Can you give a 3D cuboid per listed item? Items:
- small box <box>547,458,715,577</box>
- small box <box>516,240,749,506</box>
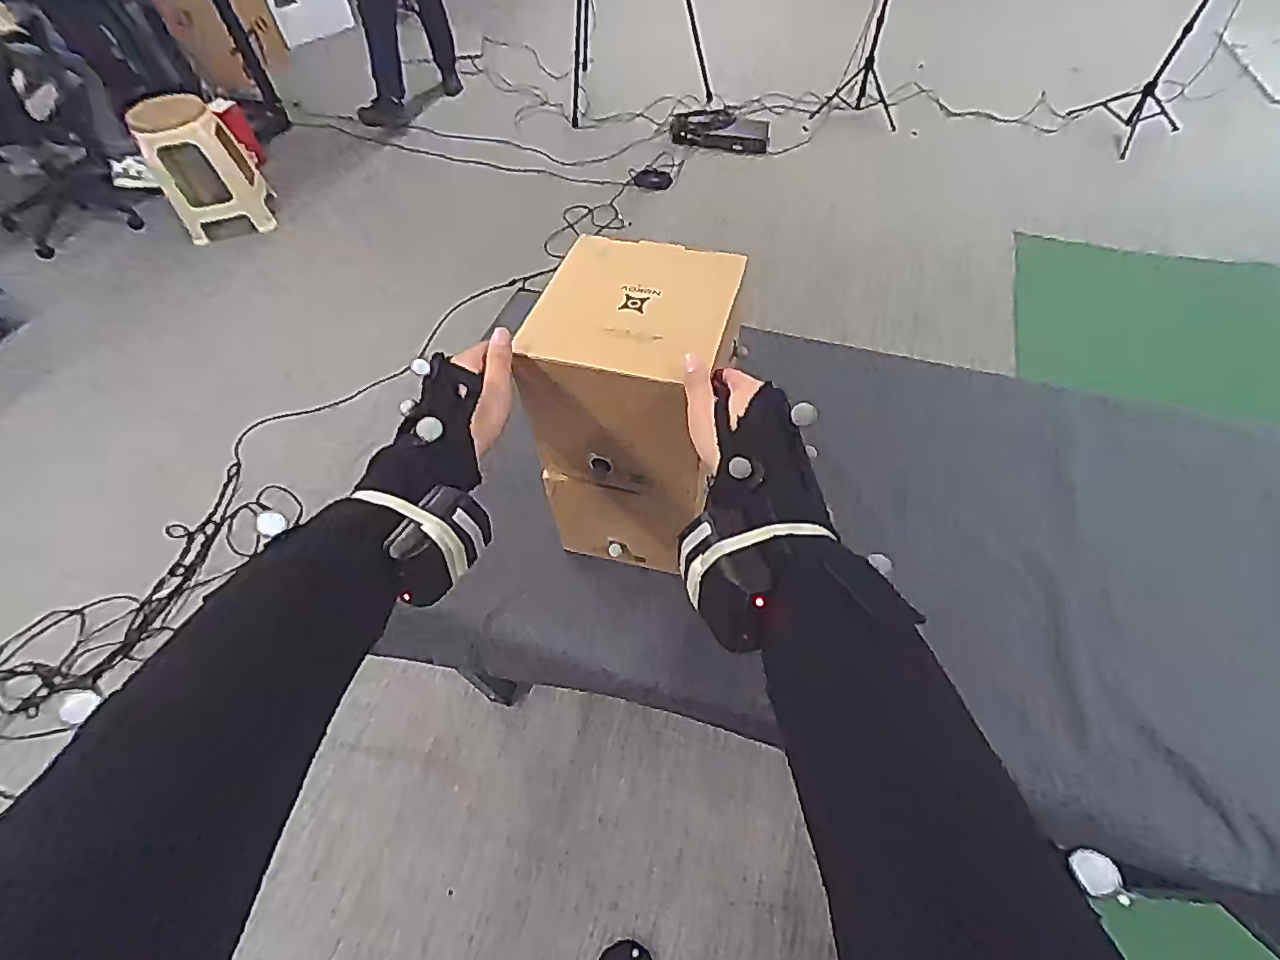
[{"bbox_3d":[0.002,-0.007,0.661,0.168,0.176,0.179,11,56,10],"label":"small box"},{"bbox_3d":[0.002,-0.102,0.530,0.168,0.176,0.179,12,56,12],"label":"small box"}]
